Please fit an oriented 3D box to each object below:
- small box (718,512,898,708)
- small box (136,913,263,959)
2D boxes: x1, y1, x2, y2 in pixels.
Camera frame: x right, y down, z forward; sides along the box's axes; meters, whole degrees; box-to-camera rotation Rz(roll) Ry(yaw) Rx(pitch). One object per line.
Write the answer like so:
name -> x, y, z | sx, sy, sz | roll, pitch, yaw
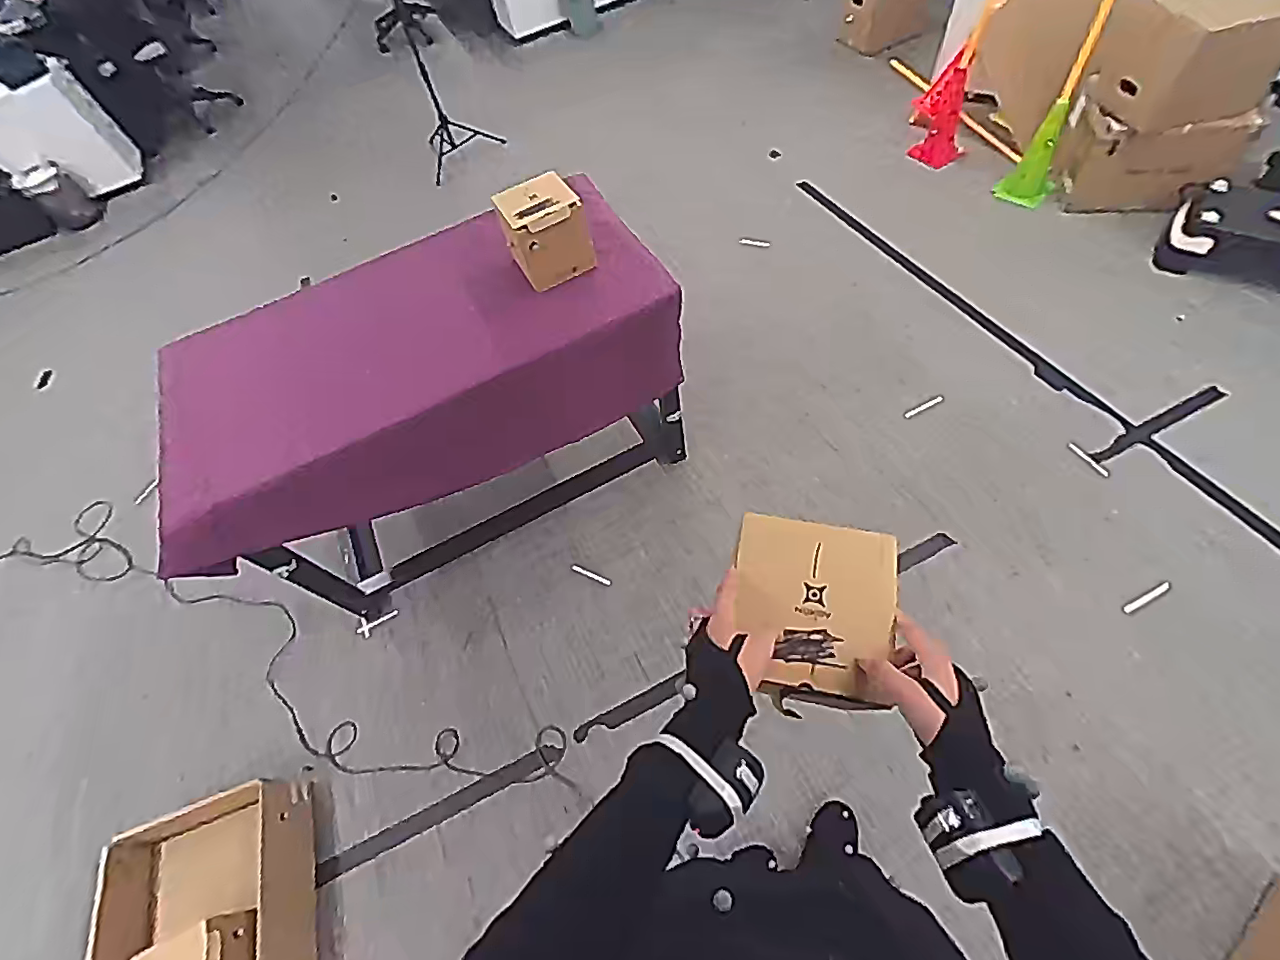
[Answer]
small box -> 0.184, 0.157, 0.626 | 0.168, 0.176, 0.179 | 8, 66, 8
small box -> -0.977, 1.107, 1.205 | 0.179, 0.176, 0.168 | -26, 57, -7
